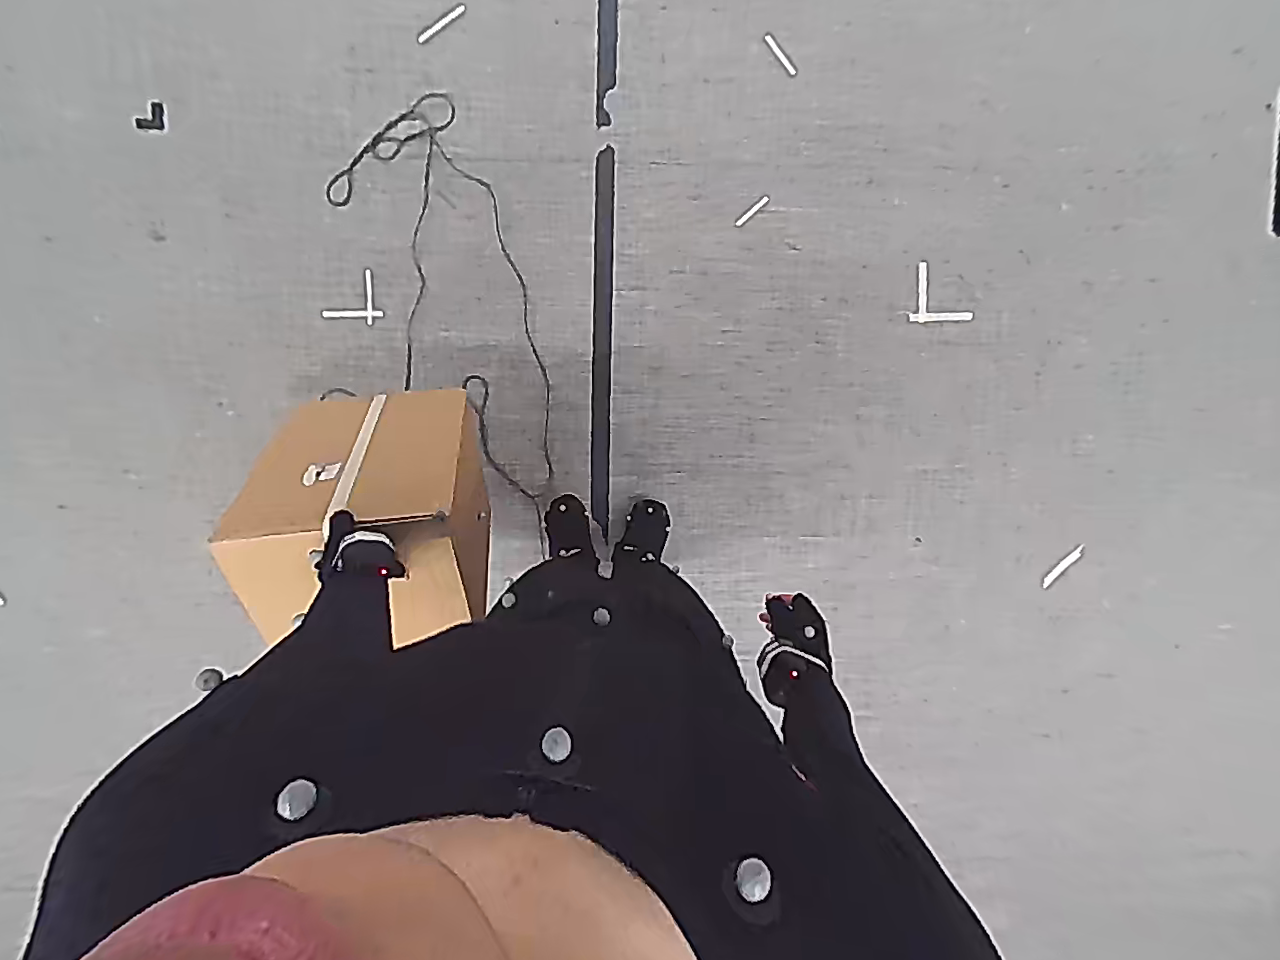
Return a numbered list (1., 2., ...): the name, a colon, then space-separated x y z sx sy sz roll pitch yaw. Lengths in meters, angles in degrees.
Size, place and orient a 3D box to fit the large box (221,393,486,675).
1. large box: -0.460 0.076 0.991 0.320 0.408 0.320 -7 127 -10
